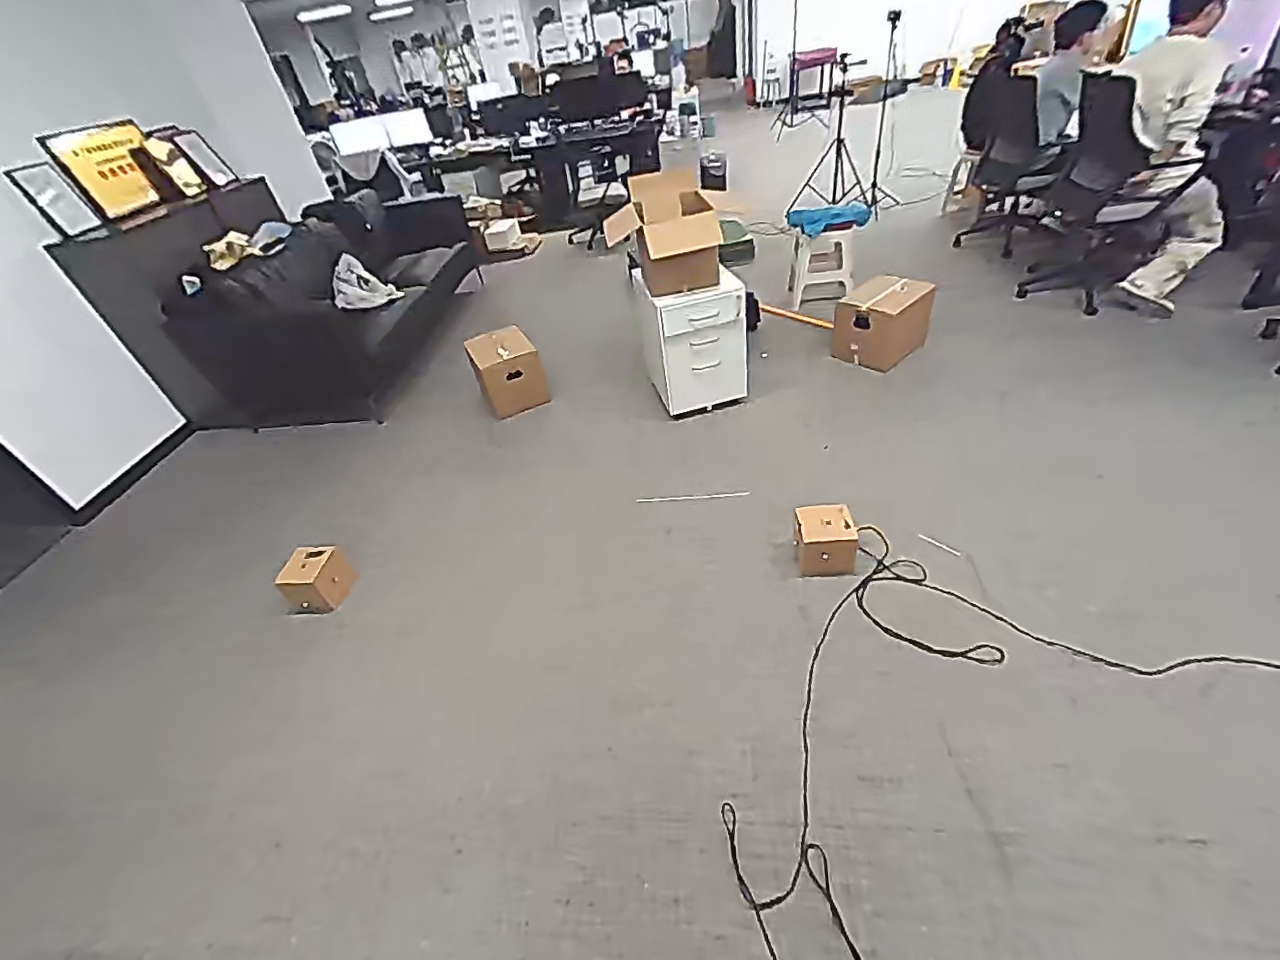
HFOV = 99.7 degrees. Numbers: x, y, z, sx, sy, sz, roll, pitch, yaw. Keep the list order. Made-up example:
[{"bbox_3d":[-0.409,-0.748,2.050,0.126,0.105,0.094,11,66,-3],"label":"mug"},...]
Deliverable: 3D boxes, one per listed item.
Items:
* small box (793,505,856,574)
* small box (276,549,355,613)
[{"bbox_3d":[0.625,0.206,1.847,0.179,0.176,0.168,-6,40,8],"label":"small box"},{"bbox_3d":[-1.229,0.385,2.069,0.168,0.176,0.179,-3,41,10],"label":"small box"}]
